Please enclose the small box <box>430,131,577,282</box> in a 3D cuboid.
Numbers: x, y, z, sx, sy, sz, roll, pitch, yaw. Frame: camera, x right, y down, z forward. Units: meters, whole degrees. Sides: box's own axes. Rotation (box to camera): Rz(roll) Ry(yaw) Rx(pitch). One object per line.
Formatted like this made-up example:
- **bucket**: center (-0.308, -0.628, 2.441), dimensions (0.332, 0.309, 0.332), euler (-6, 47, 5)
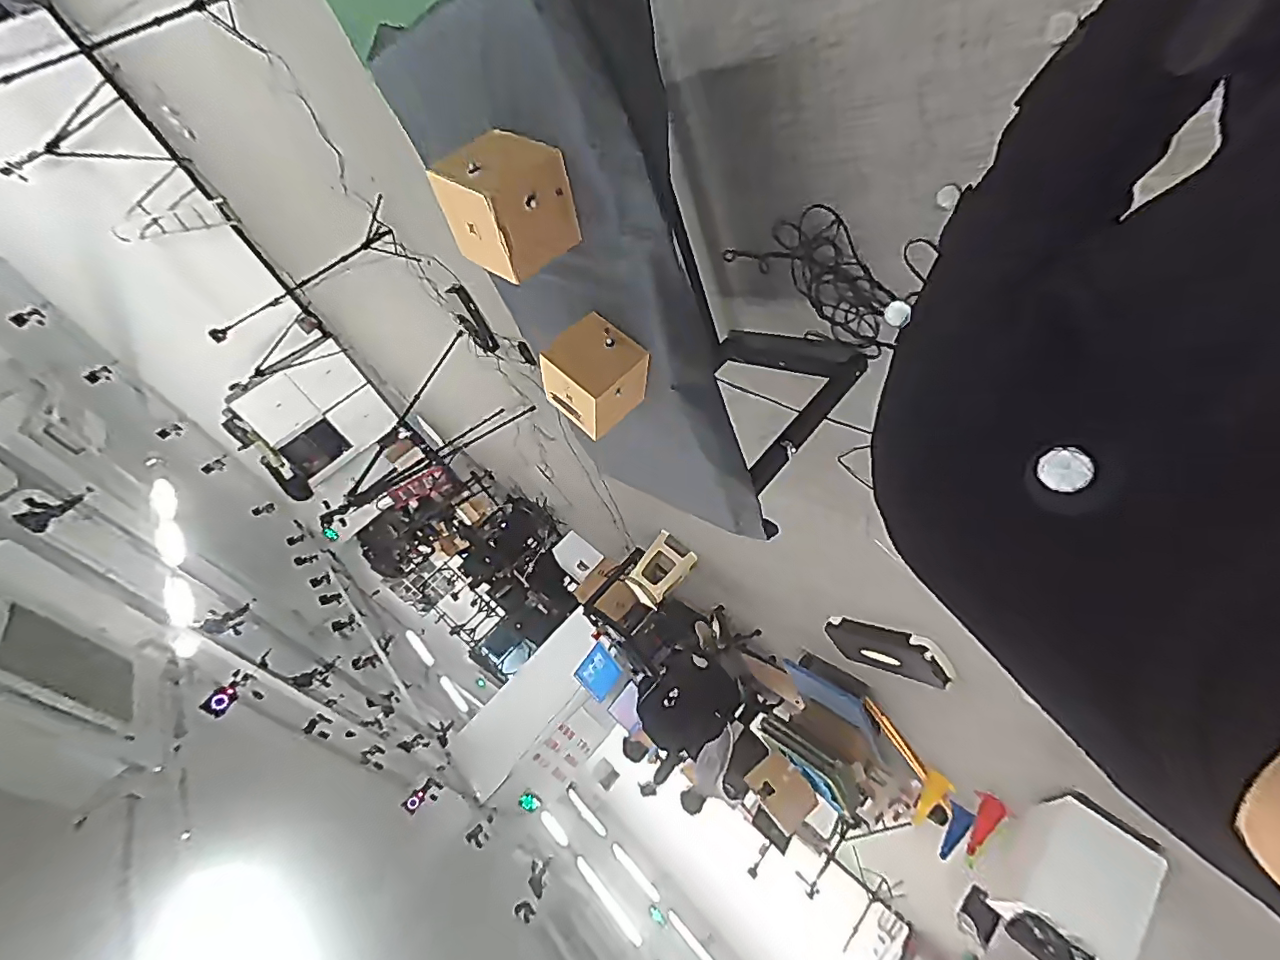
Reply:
- **small box**: center (-0.231, -0.495, 0.972), dimensions (0.179, 0.176, 0.168), euler (36, 157, 28)
